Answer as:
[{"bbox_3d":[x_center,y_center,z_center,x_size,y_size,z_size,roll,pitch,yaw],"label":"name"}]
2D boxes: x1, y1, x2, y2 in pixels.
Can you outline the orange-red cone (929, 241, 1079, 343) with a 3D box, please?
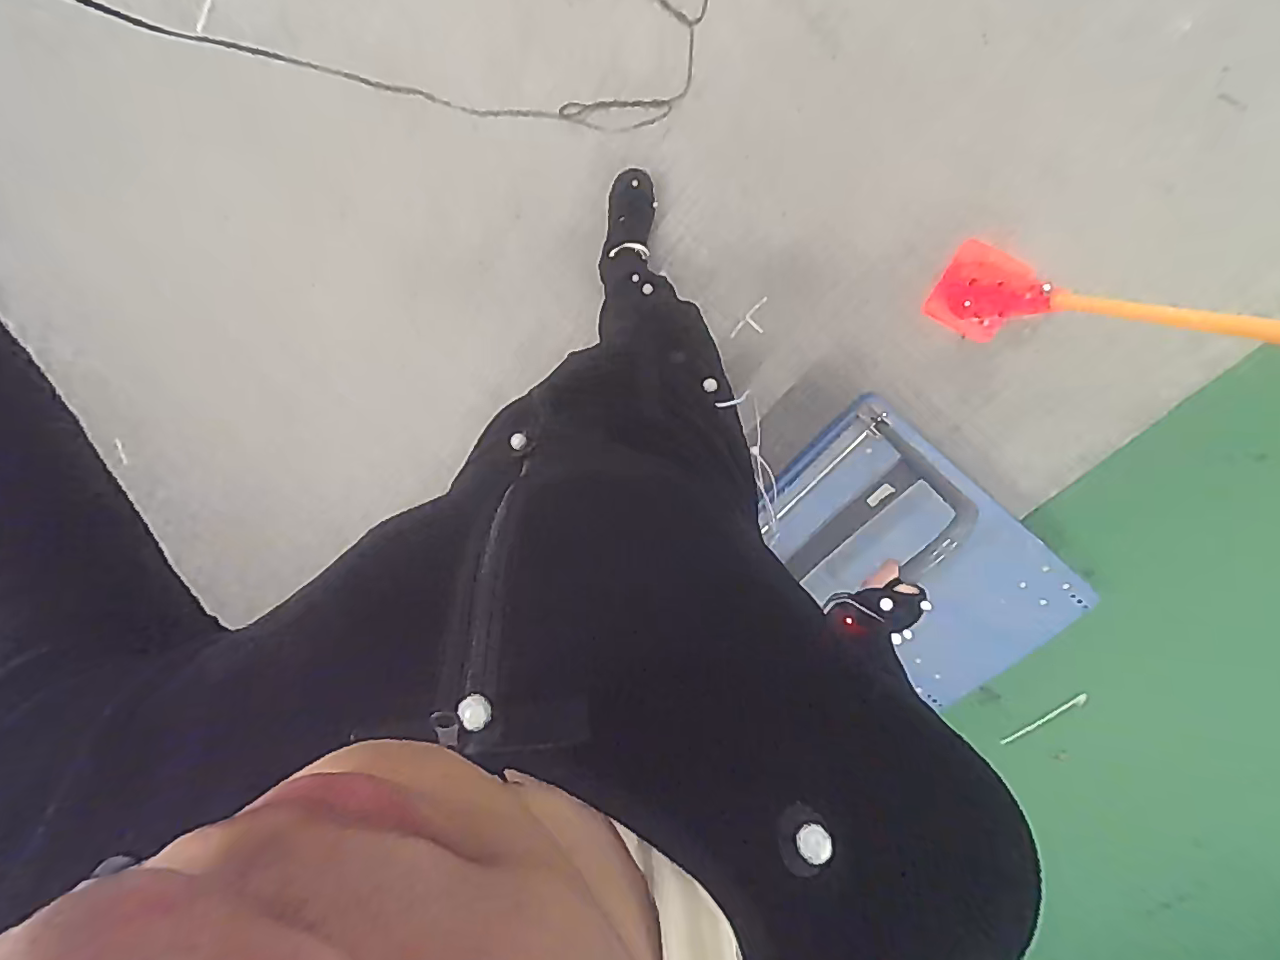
[{"bbox_3d":[0.838,-0.405,1.194,0.198,0.360,0.199,26,111,-4],"label":"orange-red cone"}]
